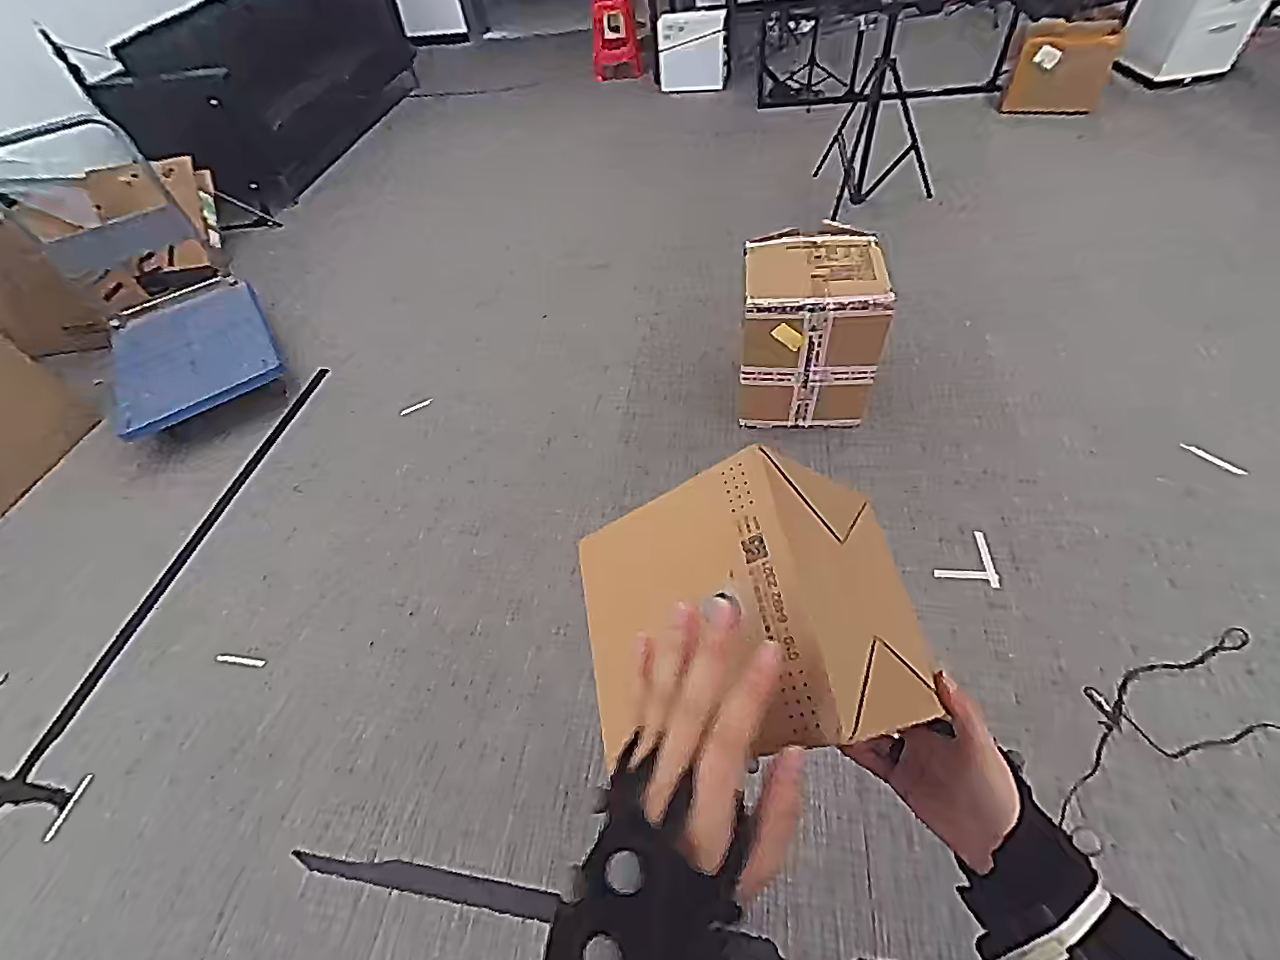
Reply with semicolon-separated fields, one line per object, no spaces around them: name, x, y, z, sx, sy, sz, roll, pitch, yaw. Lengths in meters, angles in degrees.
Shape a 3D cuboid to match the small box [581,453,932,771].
small box;0.084;0.102;0.397;0.176;0.179;0.168;-31;57;34
